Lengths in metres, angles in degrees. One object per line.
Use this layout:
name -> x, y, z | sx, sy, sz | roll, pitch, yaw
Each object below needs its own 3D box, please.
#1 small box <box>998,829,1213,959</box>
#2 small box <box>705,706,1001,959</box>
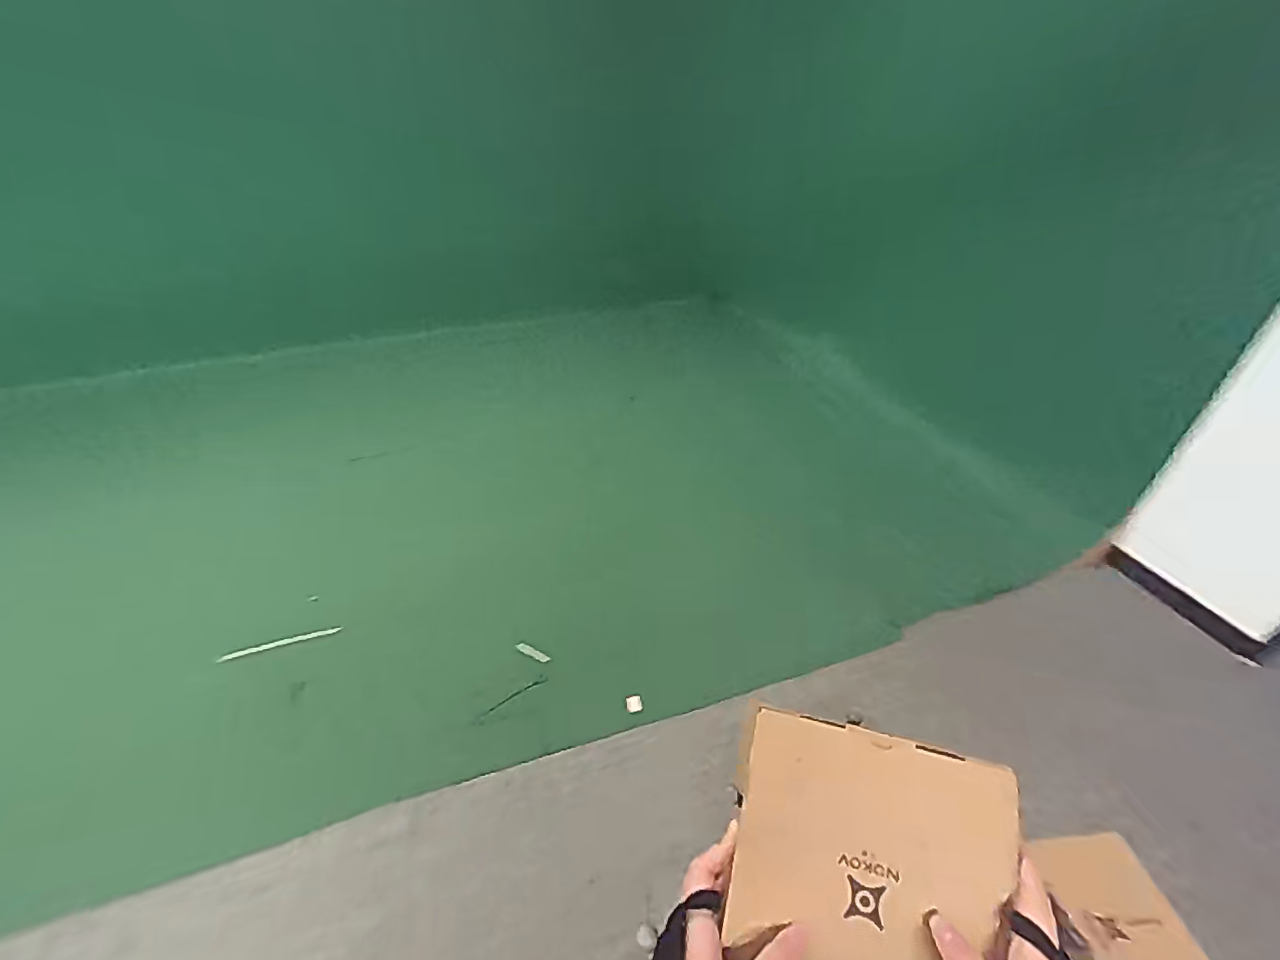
small box -> 0.489, 0.531, 0.618 | 0.179, 0.176, 0.168 | -3, 38, -5
small box -> 0.145, 0.280, 0.409 | 0.168, 0.176, 0.179 | 9, 71, 13
